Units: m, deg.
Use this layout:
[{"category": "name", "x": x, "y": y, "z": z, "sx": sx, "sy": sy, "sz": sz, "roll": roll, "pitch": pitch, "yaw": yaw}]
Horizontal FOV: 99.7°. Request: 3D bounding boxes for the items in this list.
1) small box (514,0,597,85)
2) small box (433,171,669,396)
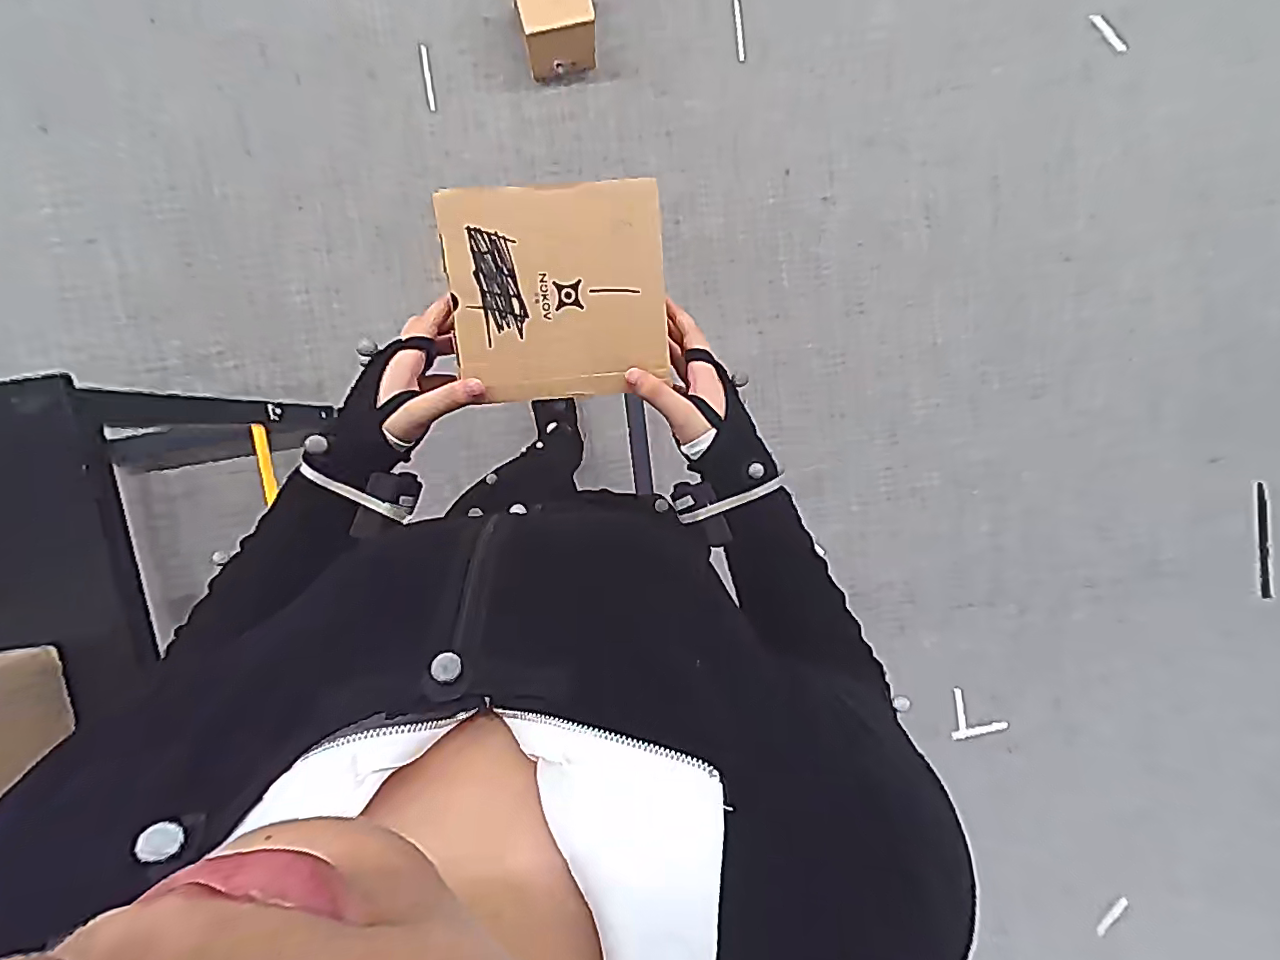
[{"category": "small box", "x": -0.203, "y": -1.093, "z": 1.284, "sx": 0.168, "sy": 0.176, "sz": 0.179, "roll": -15, "pitch": 97, "yaw": -2}, {"category": "small box", "x": -0.070, "y": -0.166, "z": 0.505, "sx": 0.179, "sy": 0.176, "sz": 0.168, "roll": -5, "pitch": 102, "yaw": -3}]
